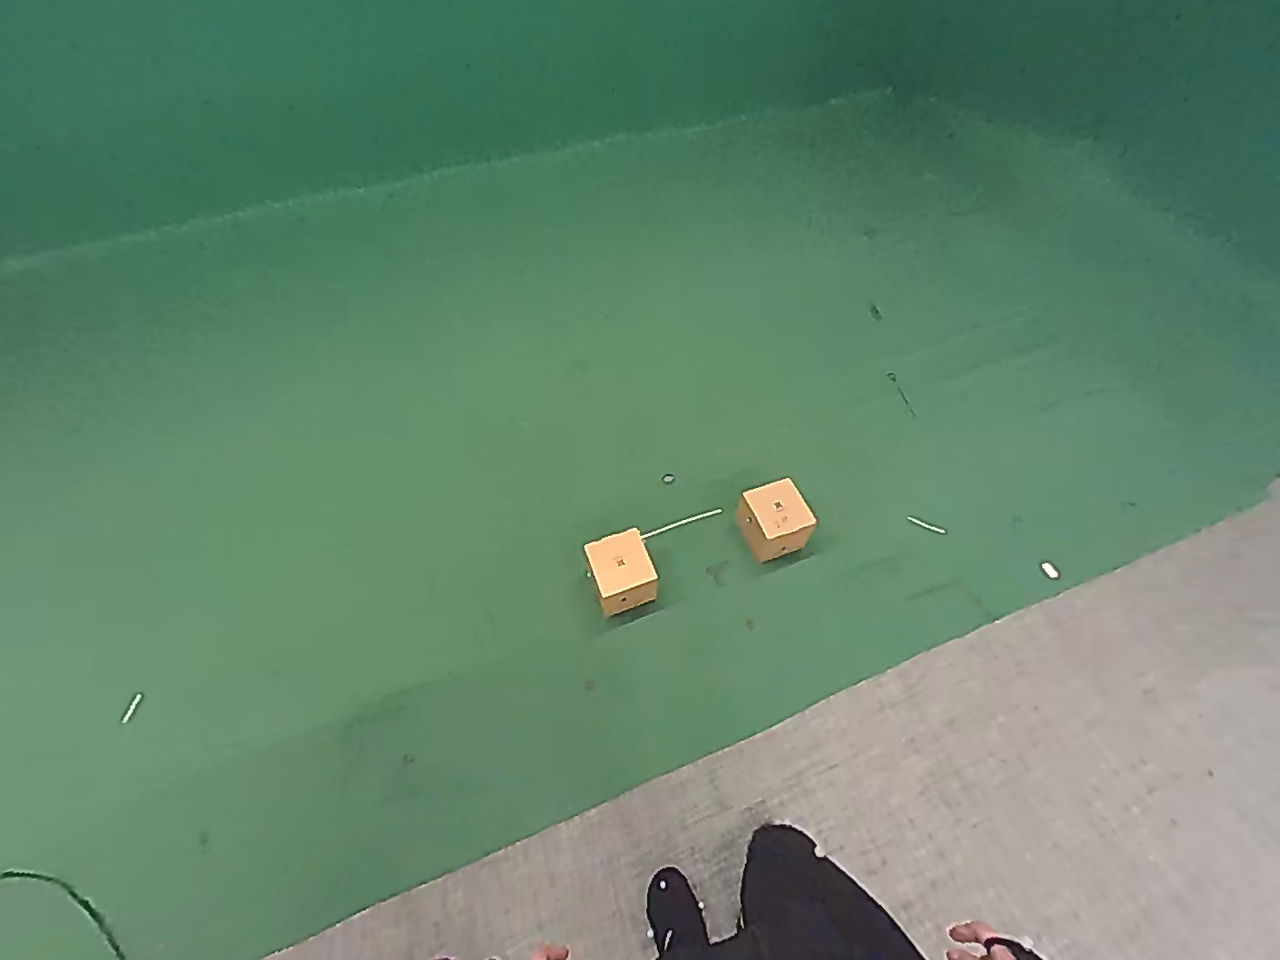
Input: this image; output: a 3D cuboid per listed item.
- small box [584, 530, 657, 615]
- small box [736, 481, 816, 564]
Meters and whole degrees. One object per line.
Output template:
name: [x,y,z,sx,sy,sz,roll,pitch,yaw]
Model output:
small box: [-0.056,0.282,1.597,0.168,0.176,0.179,-18,58,-12]
small box: [0.416,0.137,1.695,0.168,0.176,0.179,-17,59,-11]
